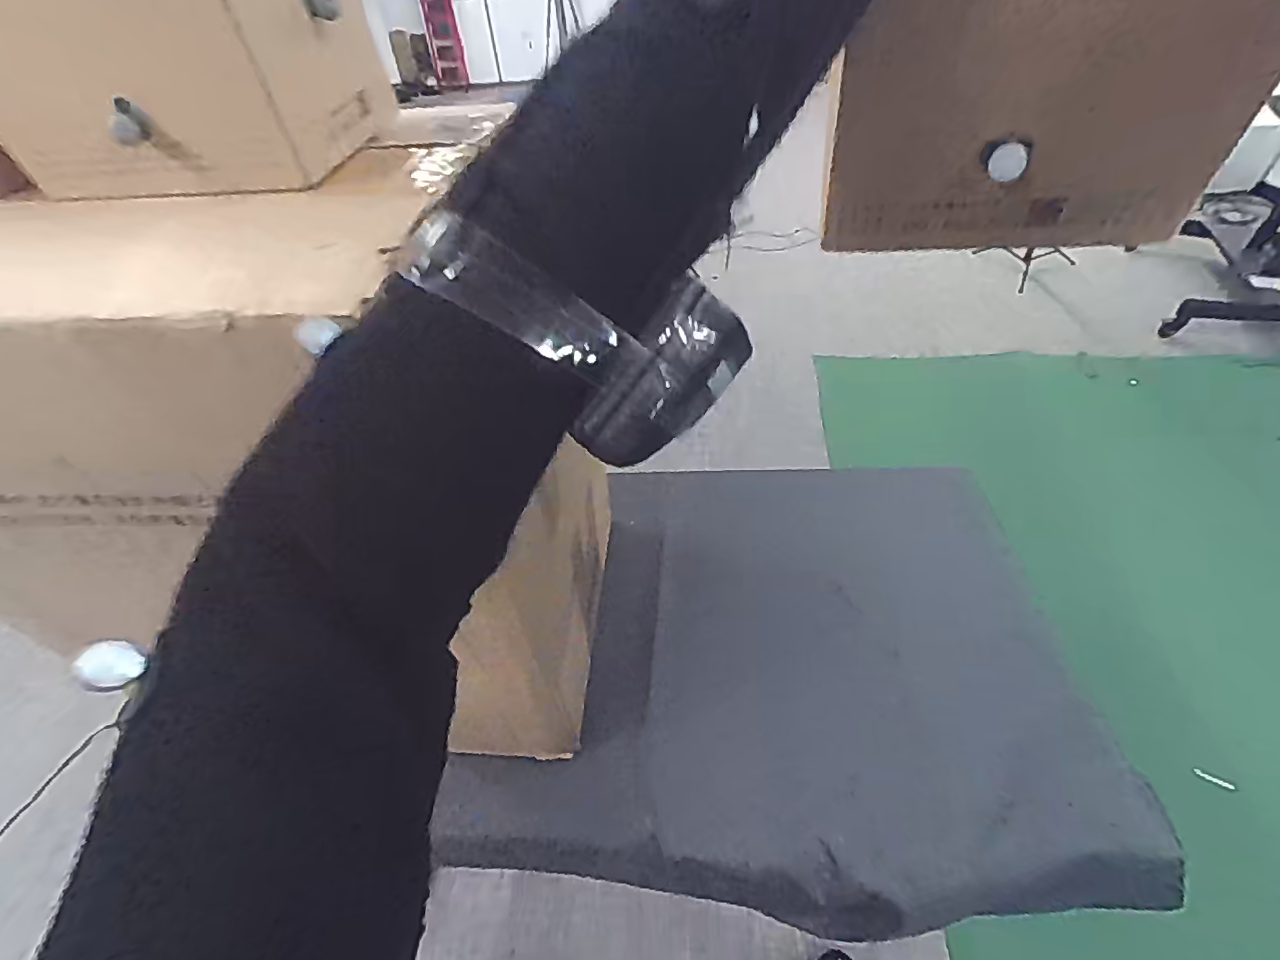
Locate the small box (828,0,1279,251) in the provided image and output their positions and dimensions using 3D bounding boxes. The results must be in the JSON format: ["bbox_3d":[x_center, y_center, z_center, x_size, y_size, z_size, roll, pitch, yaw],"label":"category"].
[{"bbox_3d":[0.188,-0.238,0.265,0.168,0.176,0.179,5,58,15],"label":"small box"}]

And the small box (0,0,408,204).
[{"bbox_3d":[-0.274,-0.290,0.337,0.179,0.176,0.168,-1,47,3],"label":"small box"}]
